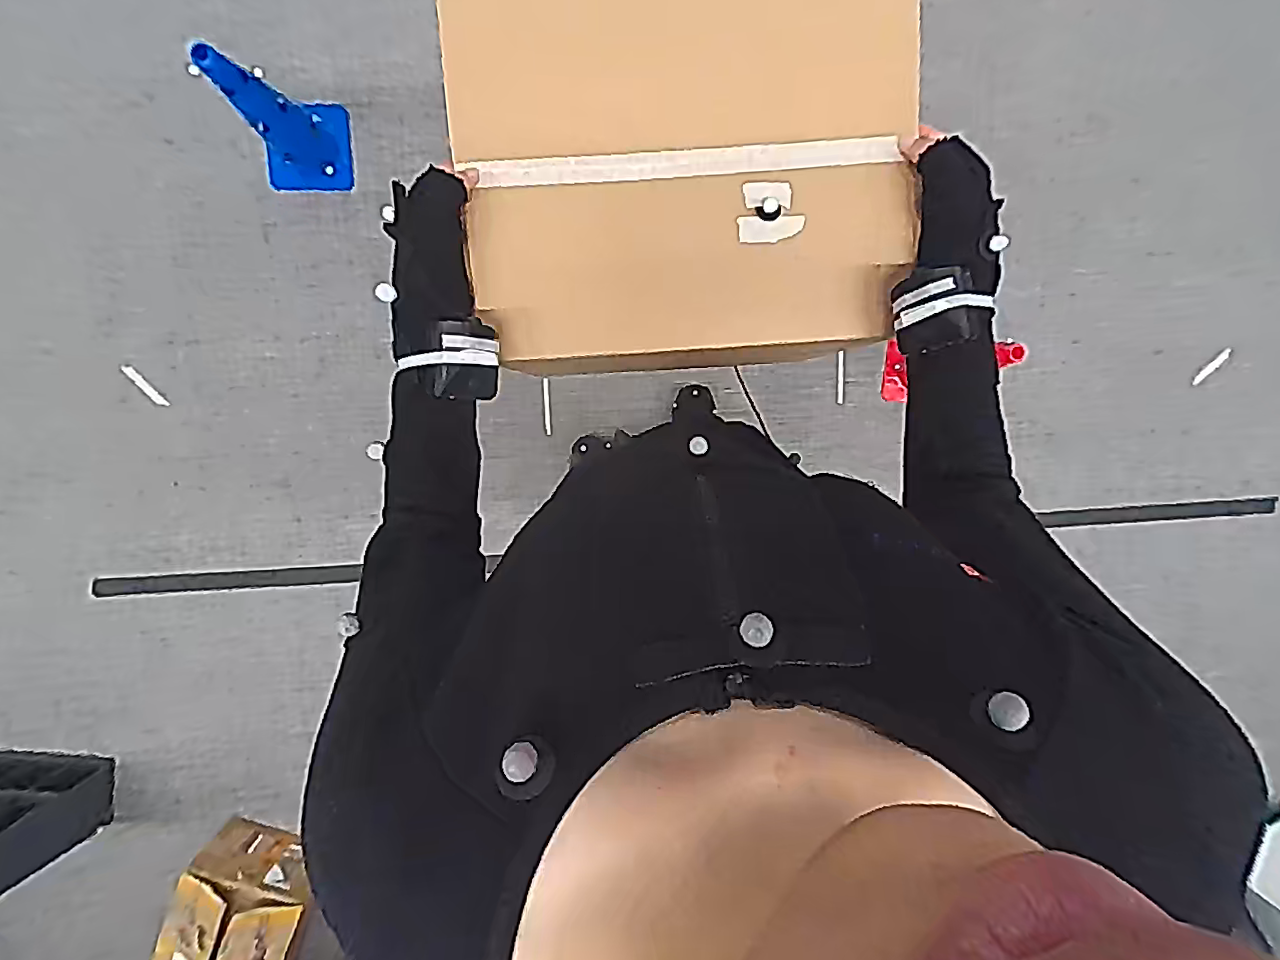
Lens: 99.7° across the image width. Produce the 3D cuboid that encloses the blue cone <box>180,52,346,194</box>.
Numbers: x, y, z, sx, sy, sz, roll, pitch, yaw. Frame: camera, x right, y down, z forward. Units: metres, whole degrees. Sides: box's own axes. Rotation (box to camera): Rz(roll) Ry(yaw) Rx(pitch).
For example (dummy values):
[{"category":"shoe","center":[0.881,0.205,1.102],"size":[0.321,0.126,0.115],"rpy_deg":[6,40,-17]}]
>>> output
[{"category":"blue cone","center":[-0.813,-0.782,1.162],"size":[0.192,0.380,0.193],"rpy_deg":[0,97,-3]}]

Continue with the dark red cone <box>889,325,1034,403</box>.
[{"category":"dark red cone","center":[0.778,-0.289,1.289],"size":[0.201,0.394,0.202],"rpy_deg":[3,97,-3]}]

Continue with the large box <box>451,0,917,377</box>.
[{"category":"large box","center":[0.041,-0.297,0.624],"size":[0.408,0.320,0.320],"rpy_deg":[-4,98,-2]}]
